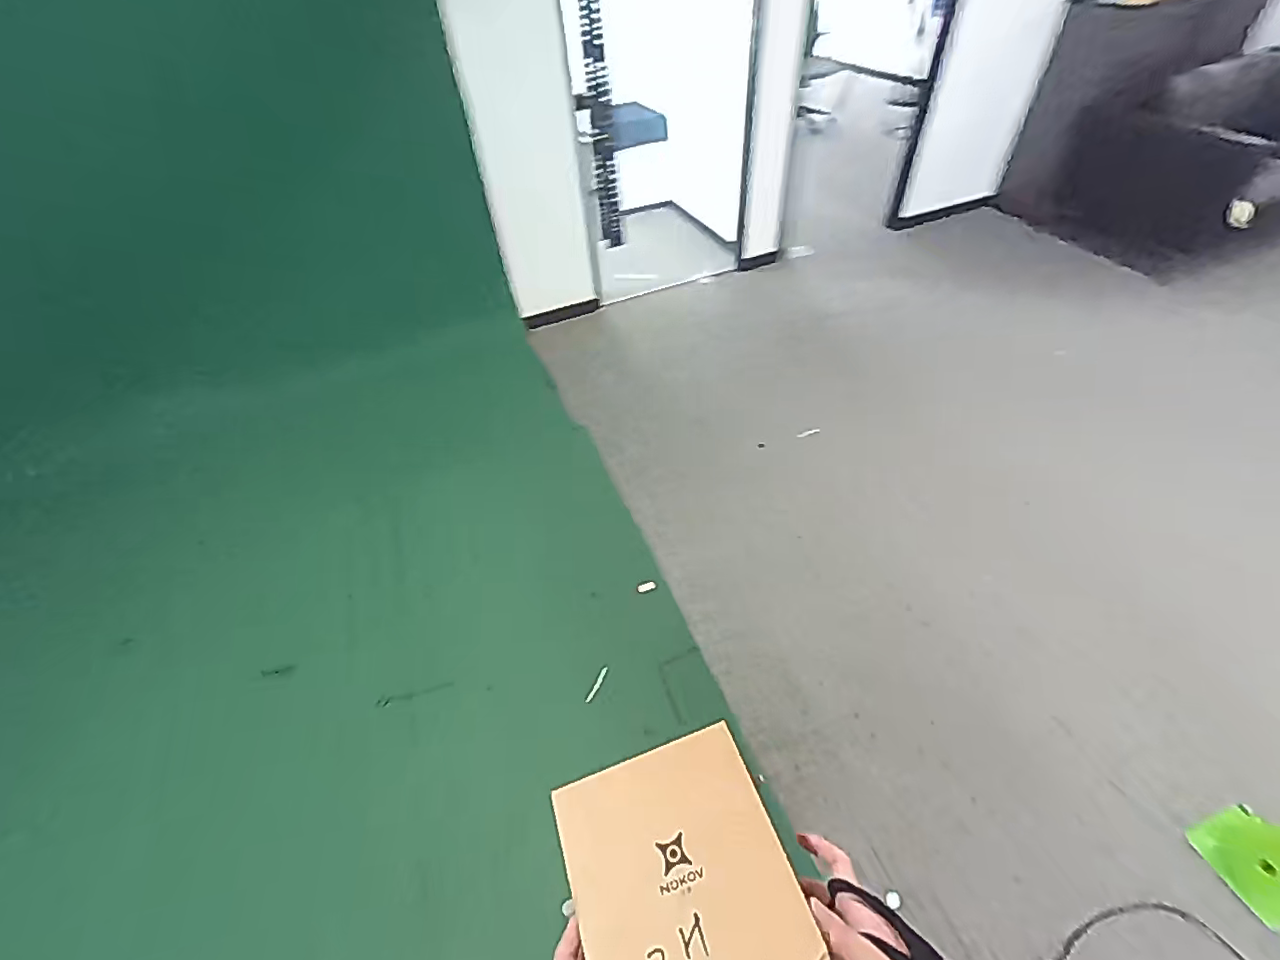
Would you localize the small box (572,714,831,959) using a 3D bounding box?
[{"bbox_3d":[0.044,0.348,0.492,0.168,0.176,0.179,-15,48,-7],"label":"small box"}]

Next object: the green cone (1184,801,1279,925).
[{"bbox_3d":[1.433,0.786,1.147,0.200,0.368,0.202,-18,51,-11],"label":"green cone"}]
